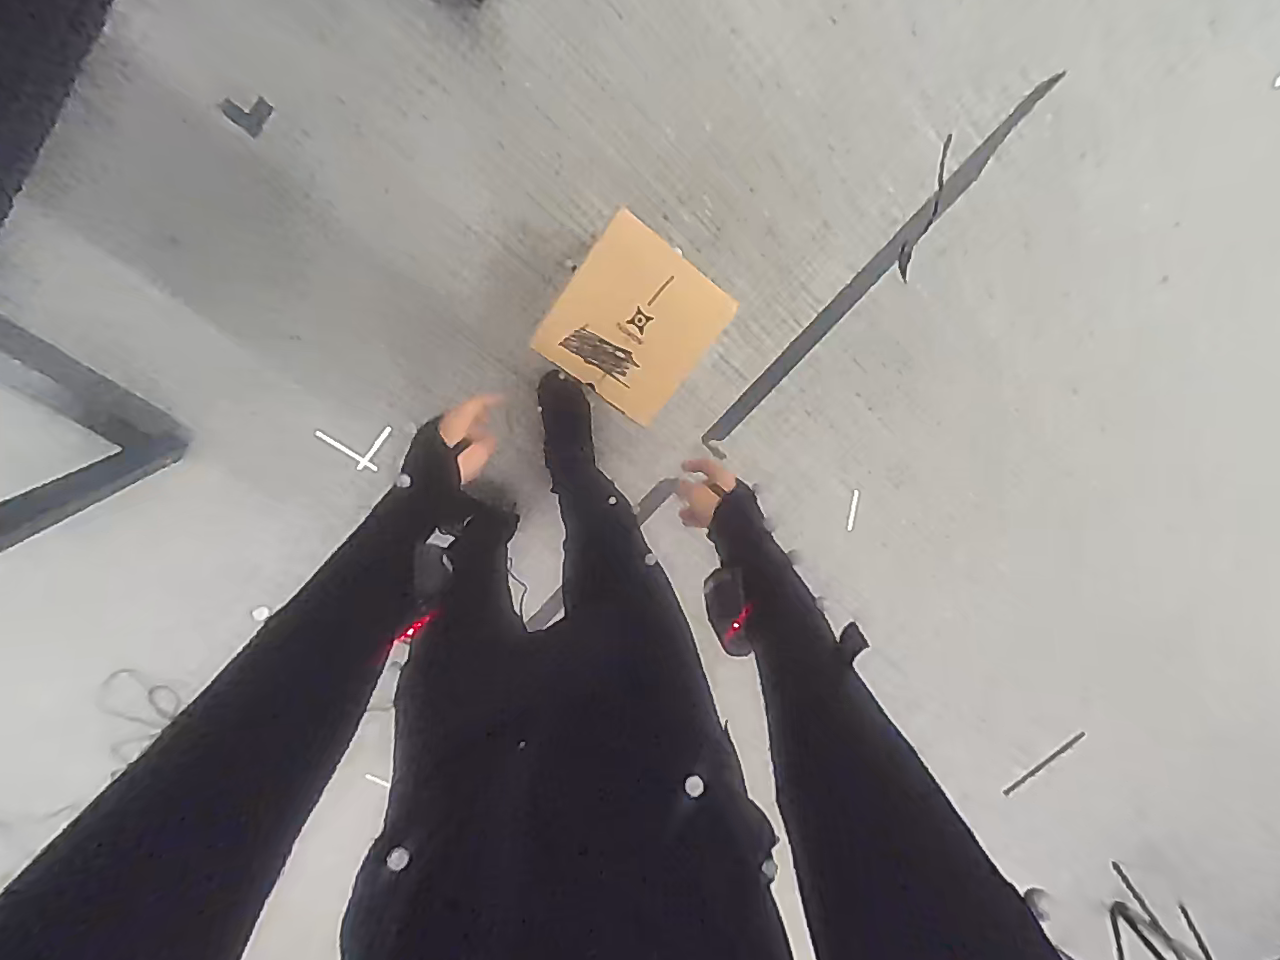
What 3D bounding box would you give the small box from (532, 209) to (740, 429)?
[{"bbox_3d":[-0.010,-0.196,0.663,0.168,0.176,0.179,34,104,-18],"label":"small box"}]
